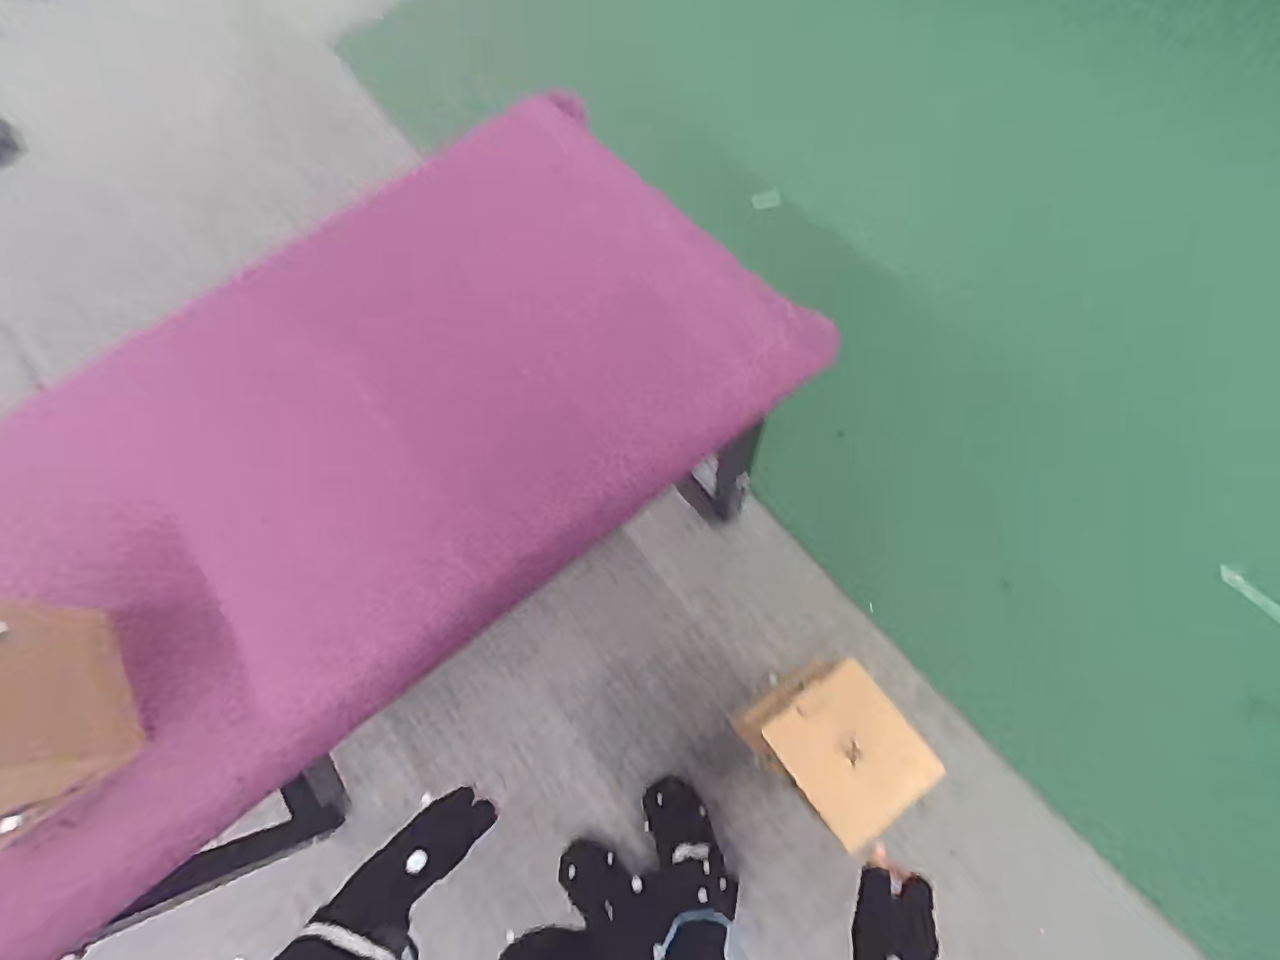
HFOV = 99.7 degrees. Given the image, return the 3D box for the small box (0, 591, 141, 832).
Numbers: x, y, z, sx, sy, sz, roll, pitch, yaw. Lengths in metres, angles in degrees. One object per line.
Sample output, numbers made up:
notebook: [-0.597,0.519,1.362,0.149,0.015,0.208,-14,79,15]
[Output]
small box: [-0.631,0.220,0.502,0.168,0.176,0.179,-33,71,-8]

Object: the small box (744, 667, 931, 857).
small box: [0.272,0.394,0.793,0.168,0.176,0.179,-34,70,-8]

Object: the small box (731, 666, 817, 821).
small box: [0.278,0.447,0.947,0.168,0.176,0.179,-33,70,-7]
